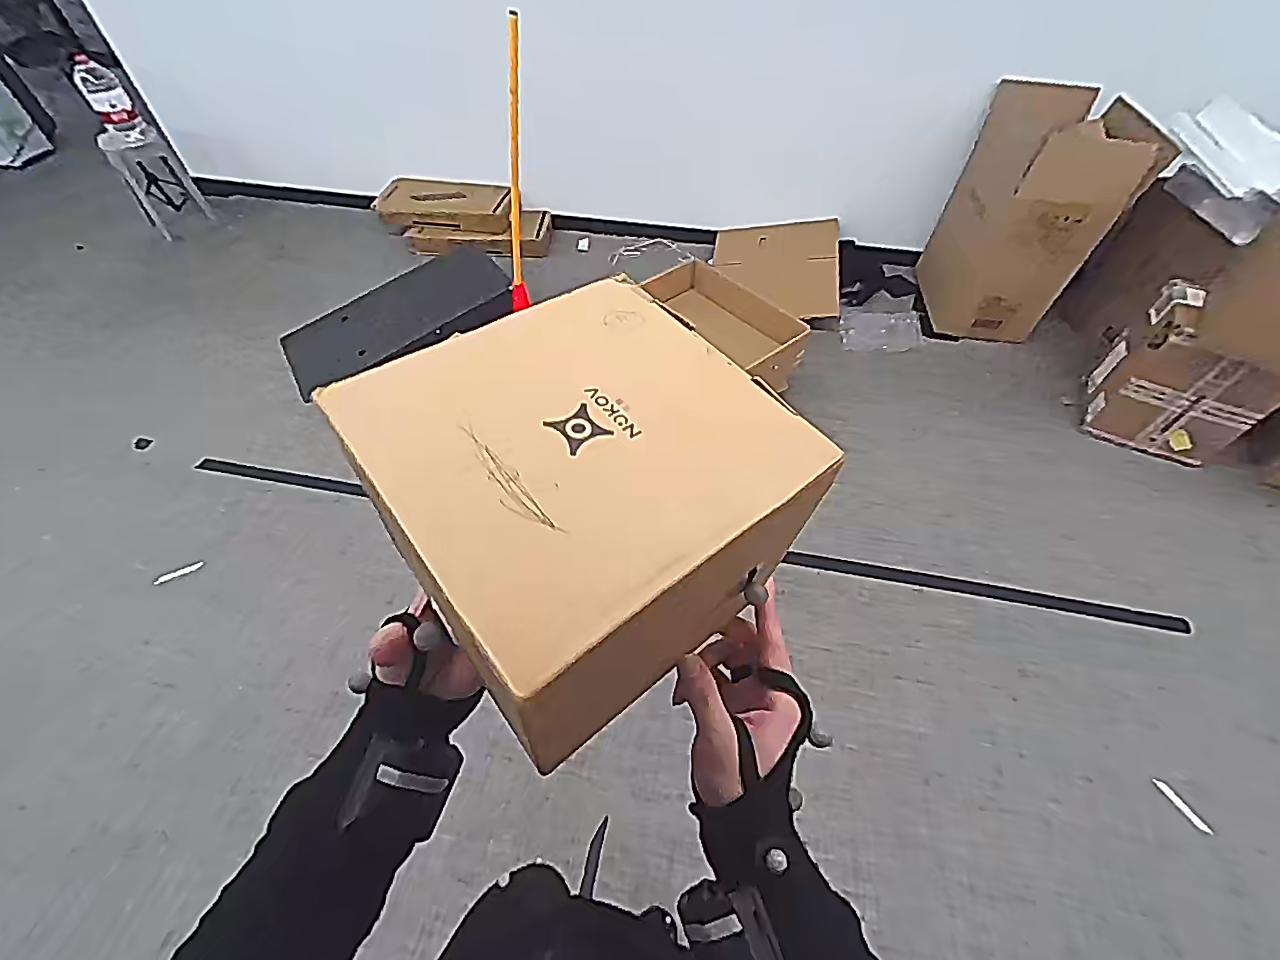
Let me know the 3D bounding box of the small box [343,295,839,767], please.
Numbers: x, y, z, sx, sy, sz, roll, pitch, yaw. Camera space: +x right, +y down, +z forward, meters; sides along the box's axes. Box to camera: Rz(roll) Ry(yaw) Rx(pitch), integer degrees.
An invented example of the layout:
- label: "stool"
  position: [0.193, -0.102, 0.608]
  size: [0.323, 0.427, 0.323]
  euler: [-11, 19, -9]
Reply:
- label: "small box"
  position: [-0.028, 0.031, 0.315]
  size: [0.179, 0.176, 0.168]
  euler: [-33, 64, -26]
